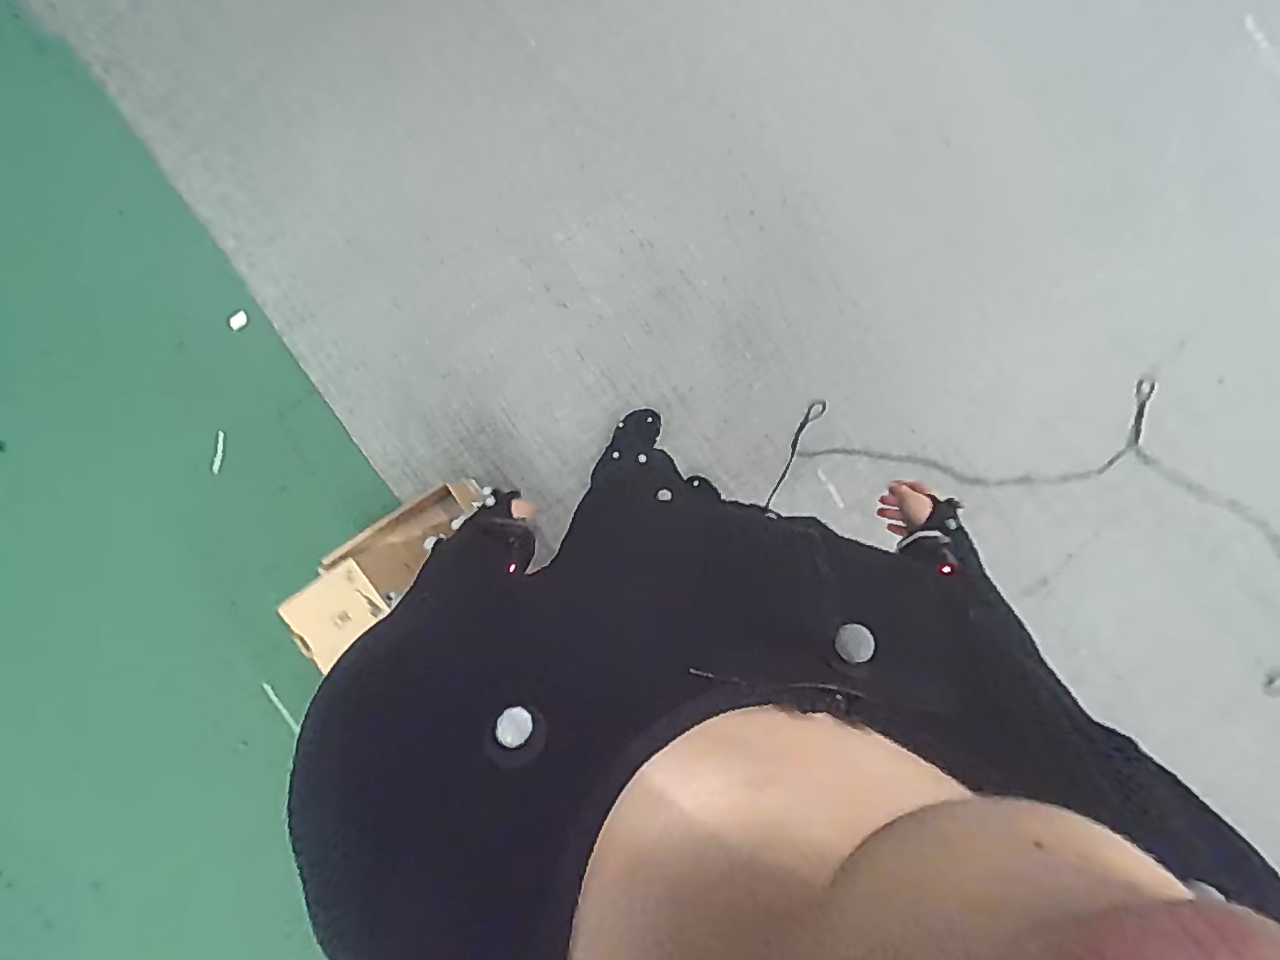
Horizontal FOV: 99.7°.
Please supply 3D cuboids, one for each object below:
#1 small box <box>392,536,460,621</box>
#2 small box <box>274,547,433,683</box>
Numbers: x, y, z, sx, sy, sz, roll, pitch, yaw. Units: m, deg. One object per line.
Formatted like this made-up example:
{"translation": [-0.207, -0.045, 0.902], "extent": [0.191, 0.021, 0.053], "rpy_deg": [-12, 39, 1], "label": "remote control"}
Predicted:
{"translation": [-0.539, 0.245, 1.214], "extent": [0.179, 0.176, 0.168], "rpy_deg": [-32, 92, 1], "label": "small box"}
{"translation": [-0.542, 0.251, 1.049], "extent": [0.179, 0.176, 0.168], "rpy_deg": [-35, 92, 3], "label": "small box"}
